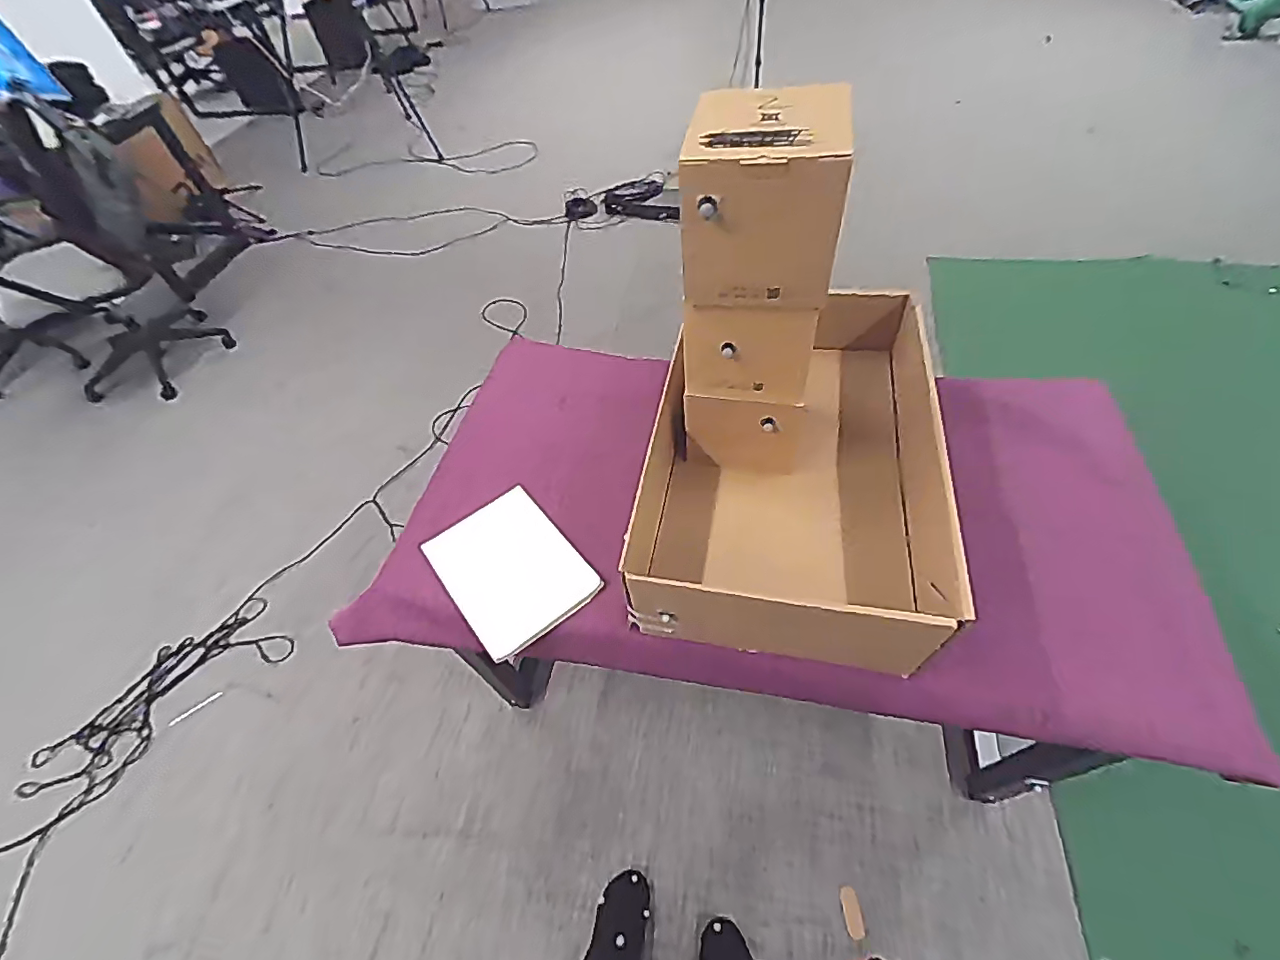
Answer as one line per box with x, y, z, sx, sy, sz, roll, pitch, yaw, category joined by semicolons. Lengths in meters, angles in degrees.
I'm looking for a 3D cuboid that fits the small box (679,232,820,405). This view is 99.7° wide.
0.155;-0.226;0.765;0.168;0.176;0.179;7;54;13;small box
